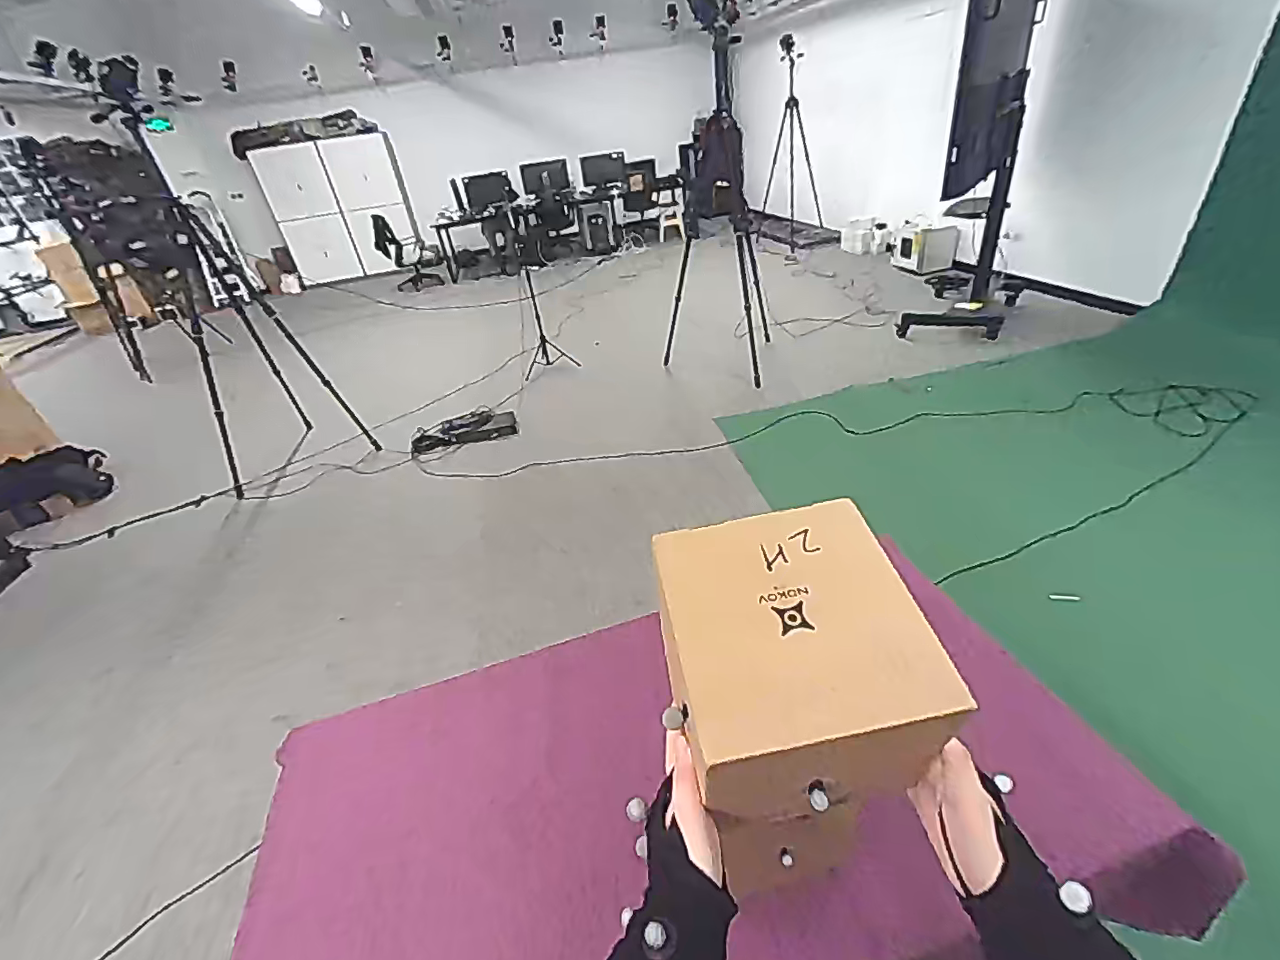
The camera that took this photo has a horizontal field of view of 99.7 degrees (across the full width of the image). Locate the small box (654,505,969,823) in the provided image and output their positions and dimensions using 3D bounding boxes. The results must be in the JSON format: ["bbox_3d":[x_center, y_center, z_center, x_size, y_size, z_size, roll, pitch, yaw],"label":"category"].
[{"bbox_3d":[0.109,0.149,0.426,0.168,0.176,0.179,-9,45,-3],"label":"small box"}]
